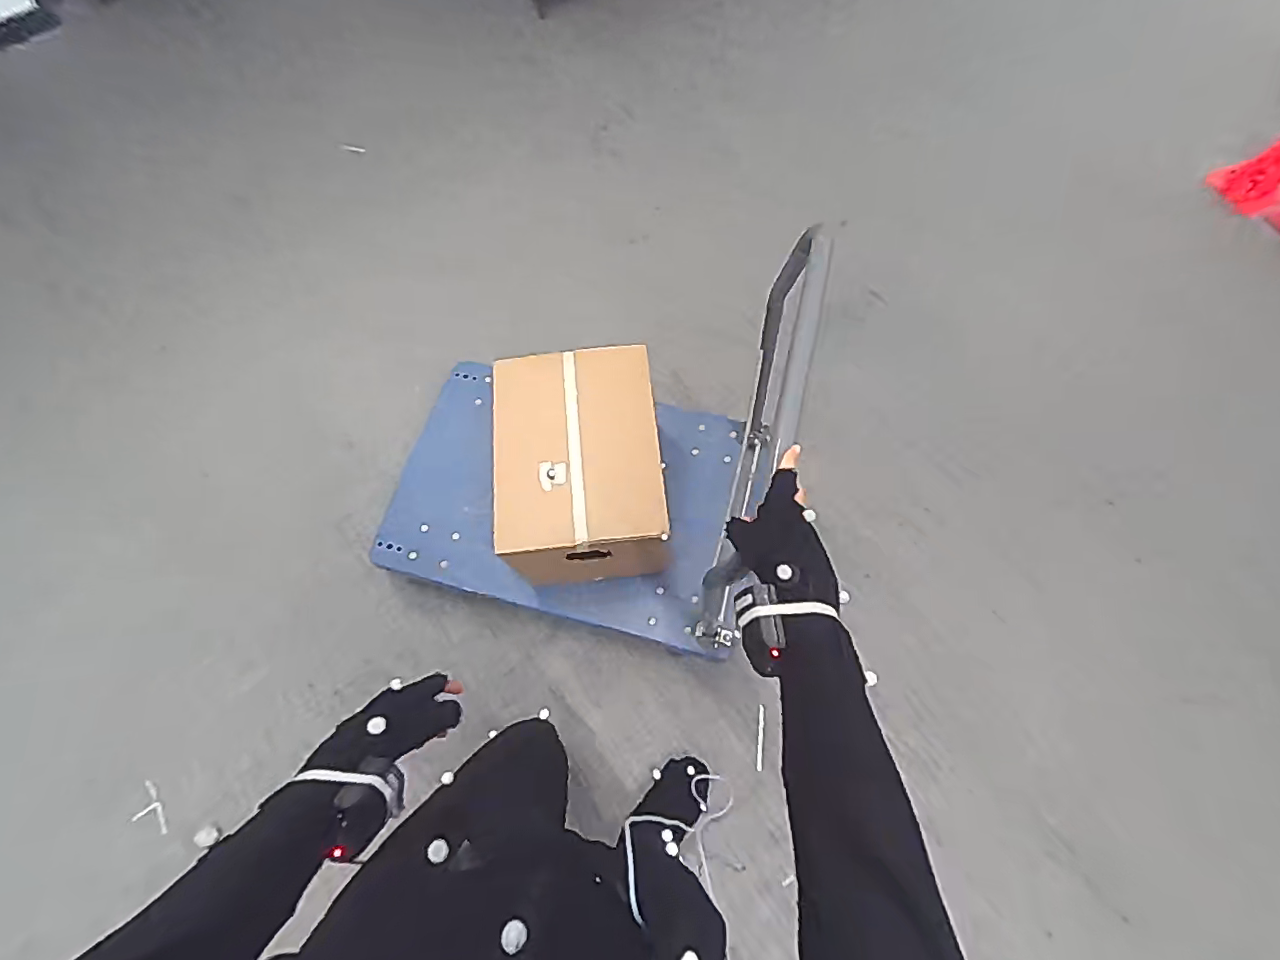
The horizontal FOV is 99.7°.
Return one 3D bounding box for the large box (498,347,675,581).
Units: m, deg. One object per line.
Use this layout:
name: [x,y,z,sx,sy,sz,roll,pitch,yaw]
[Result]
large box: [-0.109,-0.021,1.166,0.320,0.320,0.408,-6,69,0]
